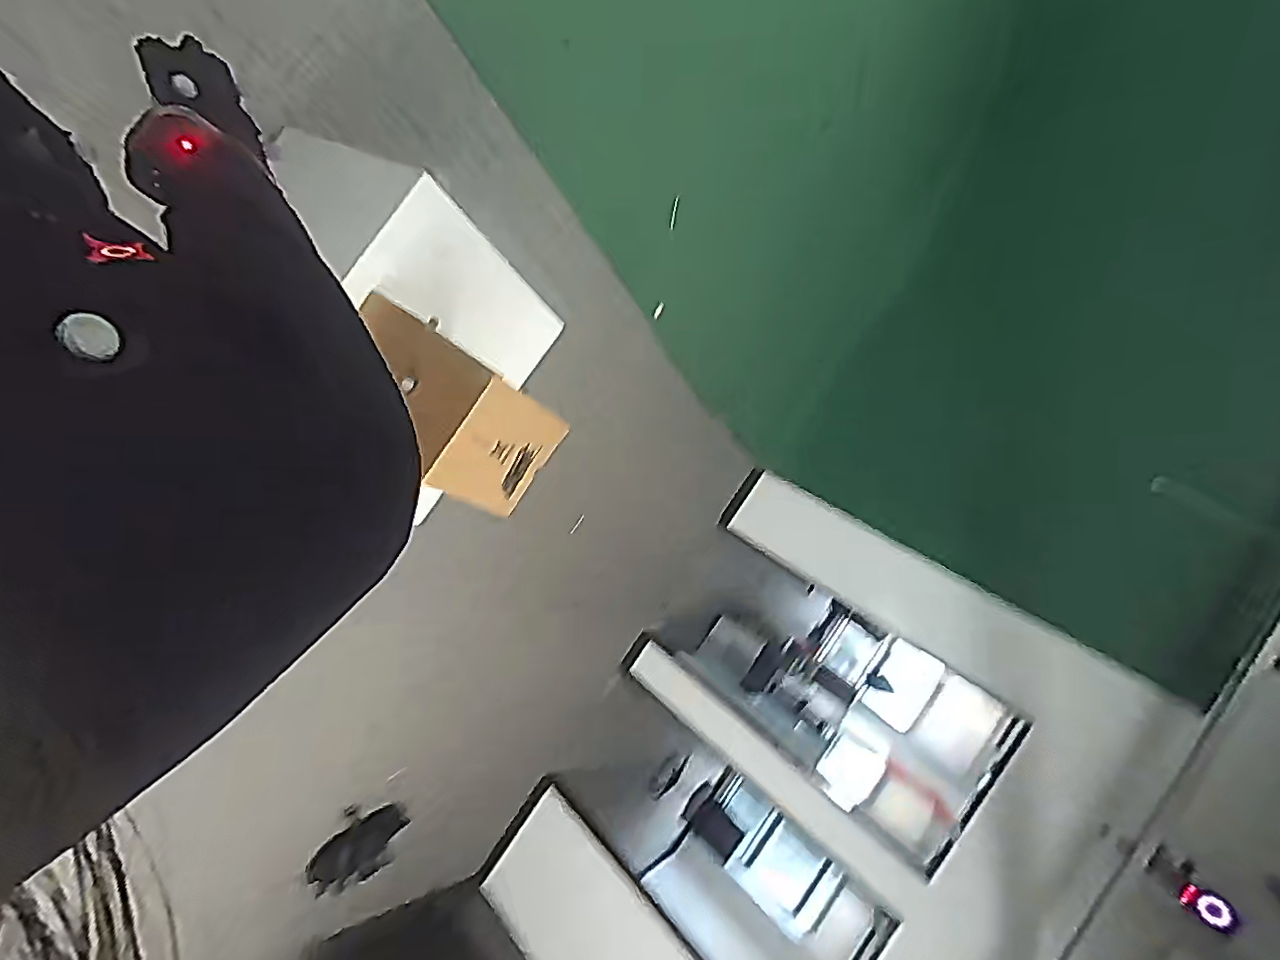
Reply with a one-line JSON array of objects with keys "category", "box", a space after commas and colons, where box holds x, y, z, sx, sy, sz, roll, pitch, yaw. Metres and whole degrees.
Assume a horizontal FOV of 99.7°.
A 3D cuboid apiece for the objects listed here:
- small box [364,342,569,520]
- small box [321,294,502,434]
[{"category": "small box", "box": [-0.241, -0.067, 0.763, 0.168, 0.176, 0.179, -56, 151, 2]}, {"category": "small box", "box": [-0.358, -0.154, 0.840, 0.179, 0.176, 0.168, -57, 150, 0]}]
